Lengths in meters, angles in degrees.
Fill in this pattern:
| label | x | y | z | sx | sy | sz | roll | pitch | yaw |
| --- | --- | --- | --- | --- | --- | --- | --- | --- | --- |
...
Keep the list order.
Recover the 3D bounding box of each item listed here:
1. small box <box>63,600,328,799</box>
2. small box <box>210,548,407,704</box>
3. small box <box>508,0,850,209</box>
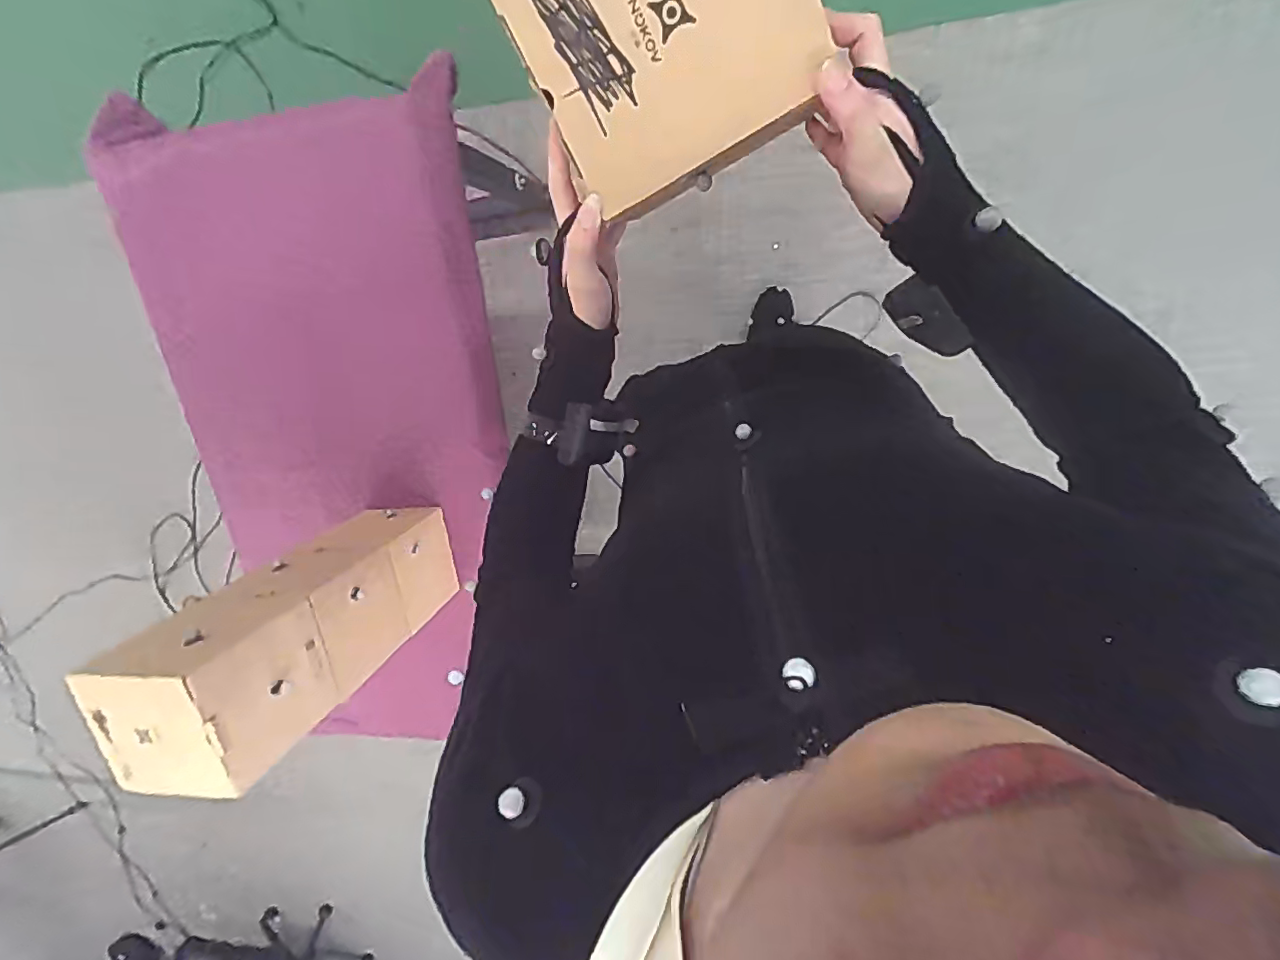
| label | x | y | z | sx | sy | sz | roll | pitch | yaw |
| --- | --- | --- | --- | --- | --- | --- | --- | --- | --- |
| small box | -0.526 | 0.260 | 0.673 | 0.179 | 0.176 | 0.168 | -4 | 106 | 12 |
| small box | -0.488 | 0.211 | 0.824 | 0.168 | 0.176 | 0.179 | -3 | 107 | 12 |
| small box | 0.030 | -0.319 | 0.398 | 0.179 | 0.176 | 0.168 | -22 | 111 | 18 |
